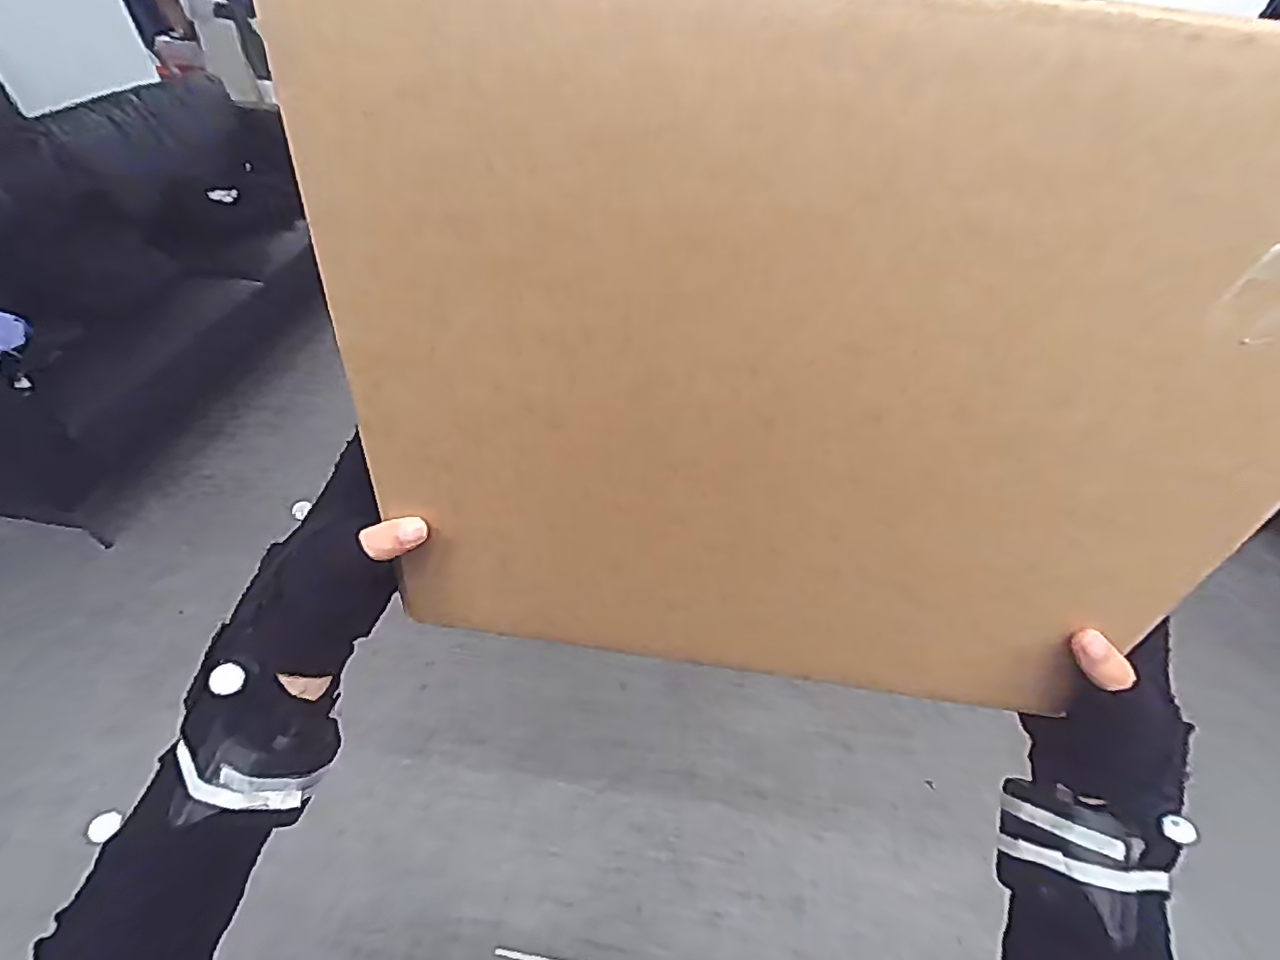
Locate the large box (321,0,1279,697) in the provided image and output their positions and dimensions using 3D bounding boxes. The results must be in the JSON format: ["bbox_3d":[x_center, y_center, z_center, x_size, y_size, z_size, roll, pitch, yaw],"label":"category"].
[{"bbox_3d":[0.089,-0.095,0.364,0.408,0.320,0.320,9,37,0],"label":"large box"}]
